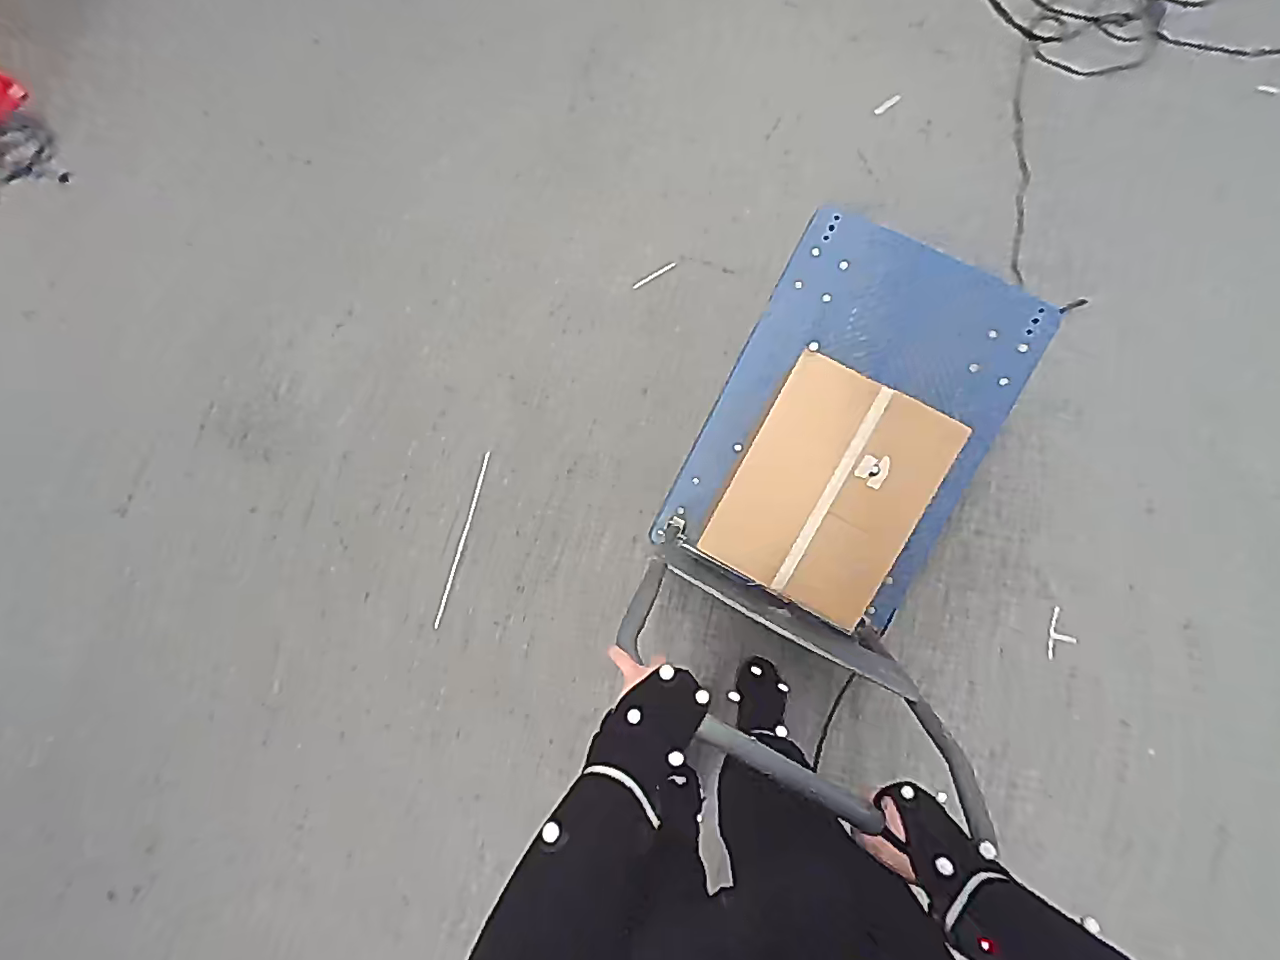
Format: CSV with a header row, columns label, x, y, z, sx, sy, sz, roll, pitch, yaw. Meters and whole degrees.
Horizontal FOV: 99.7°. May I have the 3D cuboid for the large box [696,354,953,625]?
label,x,y,z,sx,sy,sz,roll,pitch,yaw
large box,0.343,0.016,1.115,0.320,0.320,0.408,28,94,5
